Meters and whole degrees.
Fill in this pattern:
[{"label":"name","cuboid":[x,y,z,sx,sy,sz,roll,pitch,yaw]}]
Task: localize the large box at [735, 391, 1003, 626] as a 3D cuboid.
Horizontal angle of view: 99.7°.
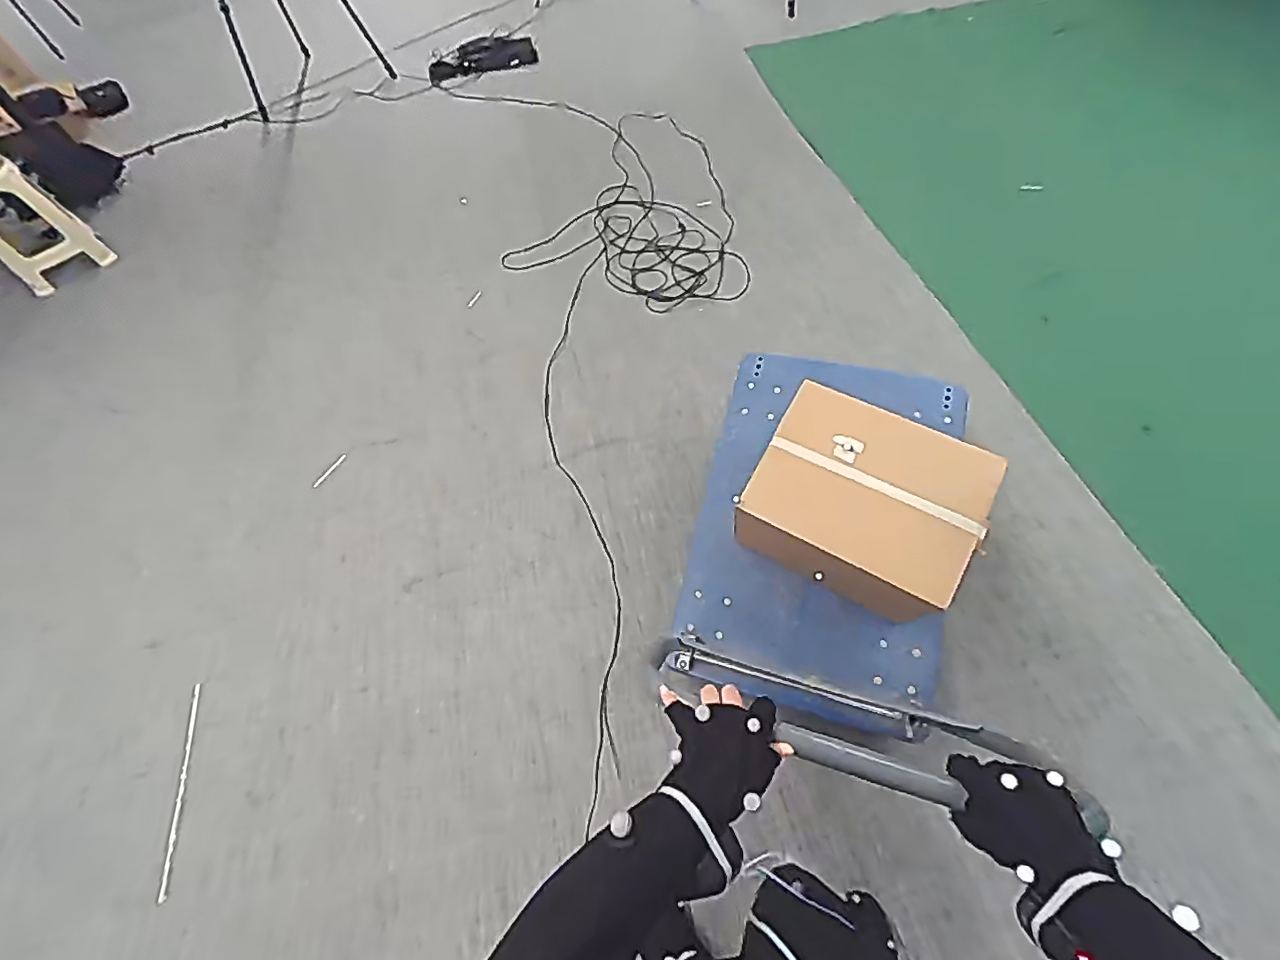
[{"label":"large box","cuboid":[0.456,0.074,1.161,0.408,0.320,0.320,28,77,18]}]
